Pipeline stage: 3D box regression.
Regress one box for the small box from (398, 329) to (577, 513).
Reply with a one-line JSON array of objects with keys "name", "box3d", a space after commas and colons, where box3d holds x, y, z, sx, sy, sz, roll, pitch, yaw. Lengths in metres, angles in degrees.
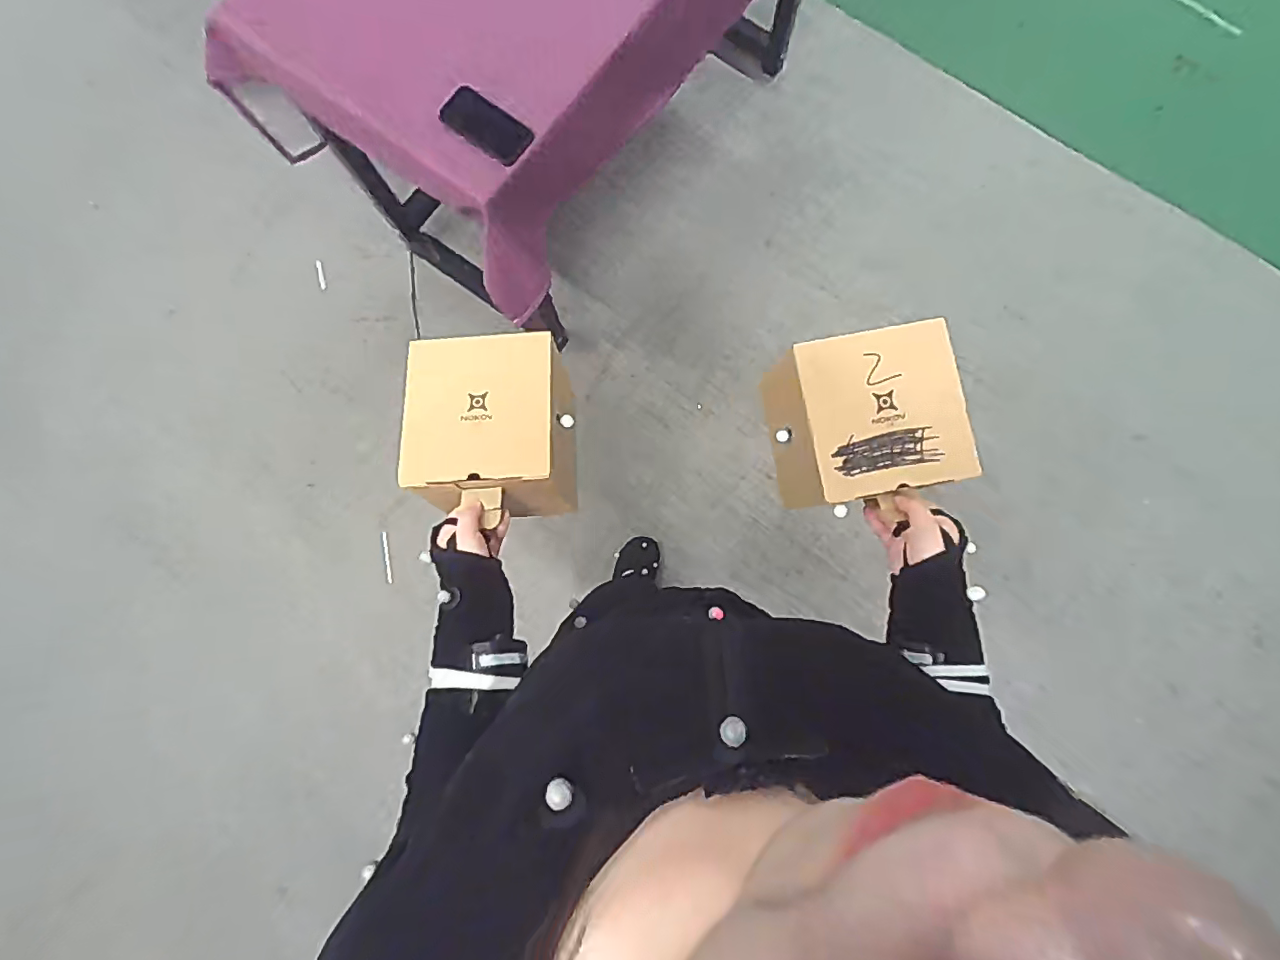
[{"name": "small box", "box3d": [-0.173, -0.064, 0.666, 0.168, 0.176, 0.179, -3, 75, 2]}]
